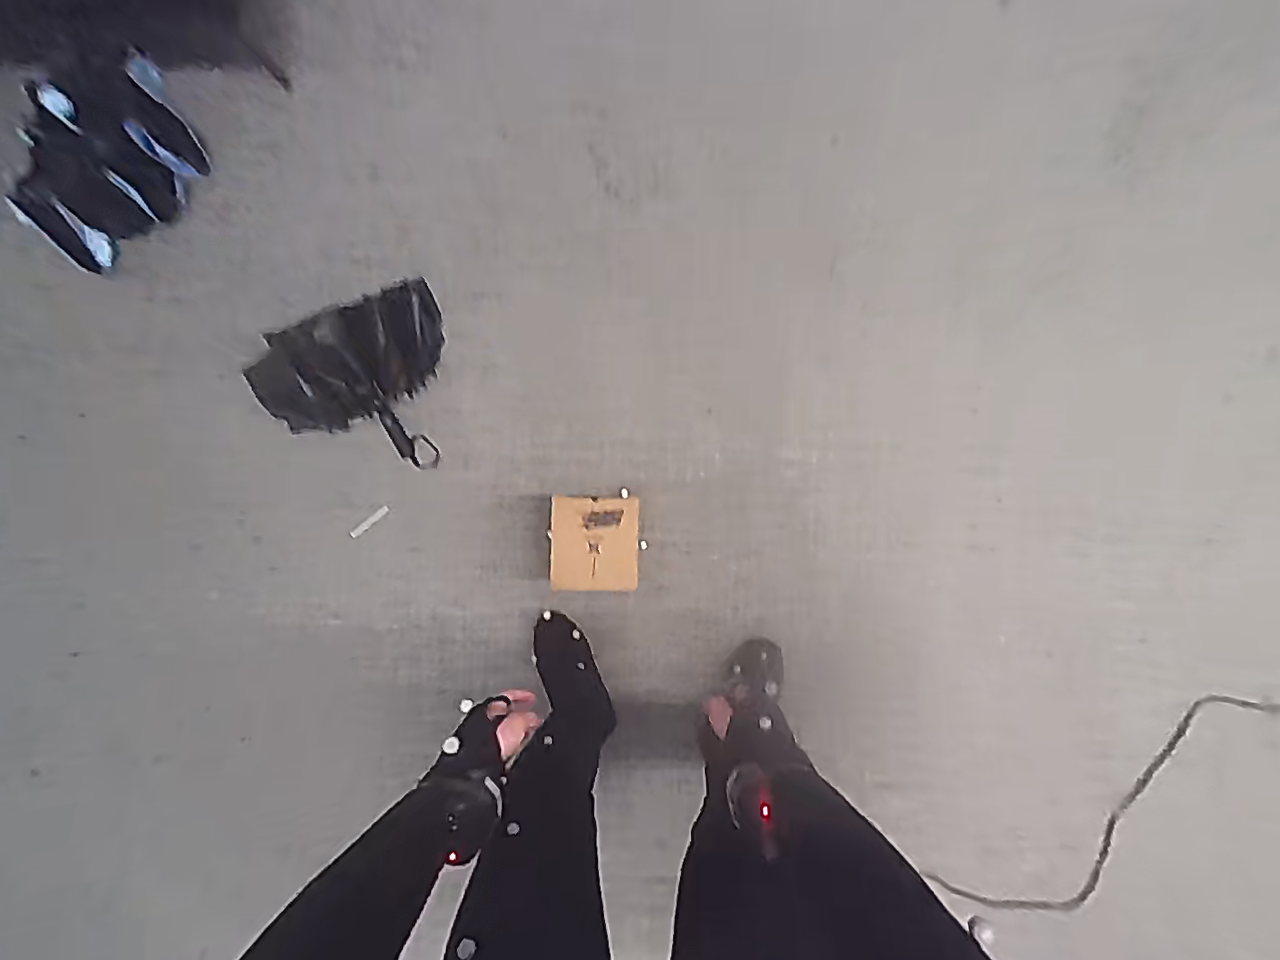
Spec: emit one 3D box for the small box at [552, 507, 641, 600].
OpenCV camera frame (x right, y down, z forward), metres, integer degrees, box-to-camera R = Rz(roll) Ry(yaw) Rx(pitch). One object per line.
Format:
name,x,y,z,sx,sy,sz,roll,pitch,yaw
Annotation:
small box,-0.083,0.144,1.108,0.168,0.176,0.179,0,88,2
